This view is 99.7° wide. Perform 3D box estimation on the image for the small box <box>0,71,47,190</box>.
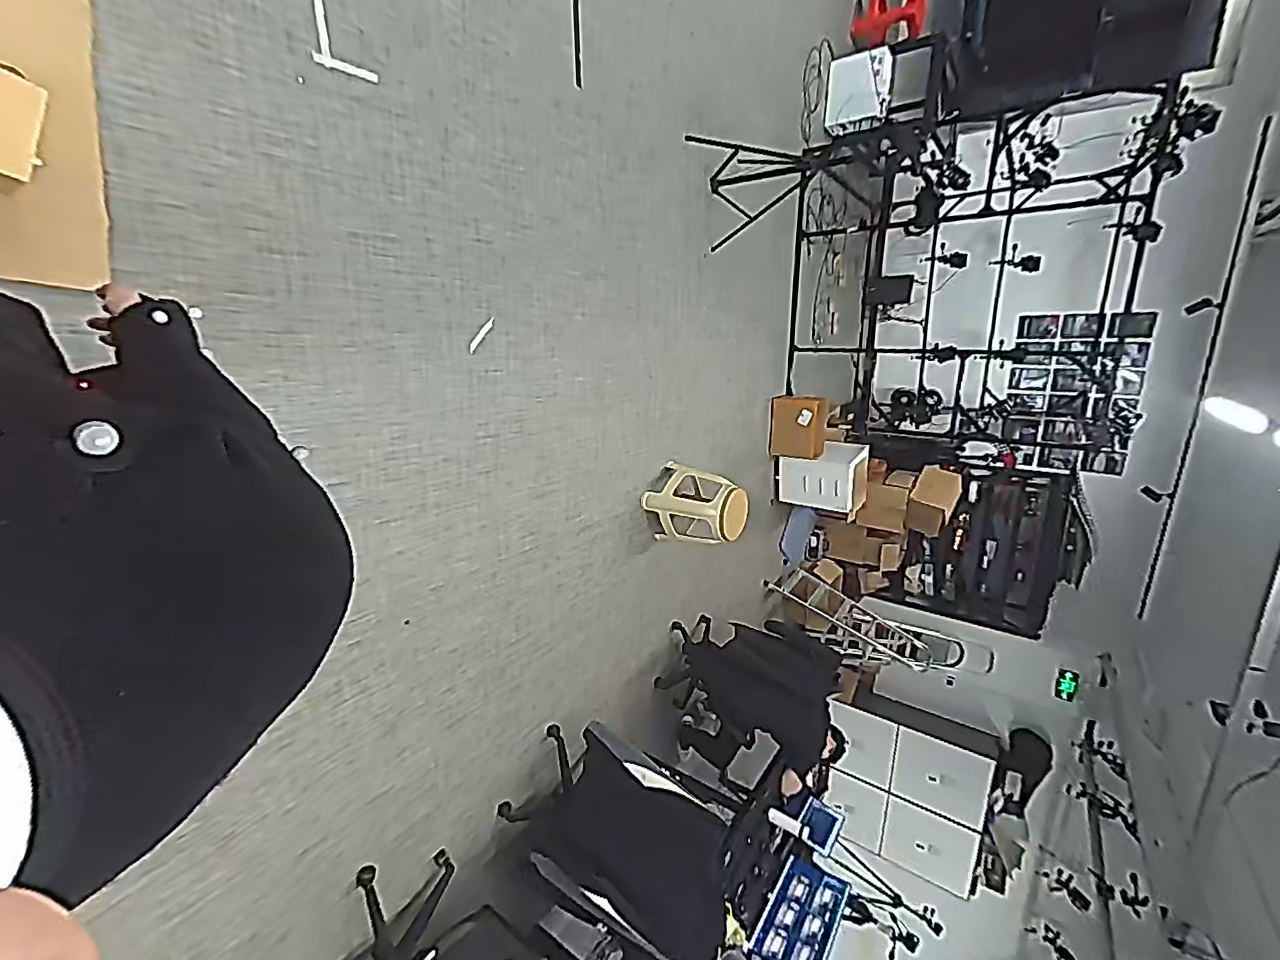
[{"bbox_3d":[-1.156,-0.614,0.908,0.179,0.176,0.168,12,88,-55],"label":"small box"}]
